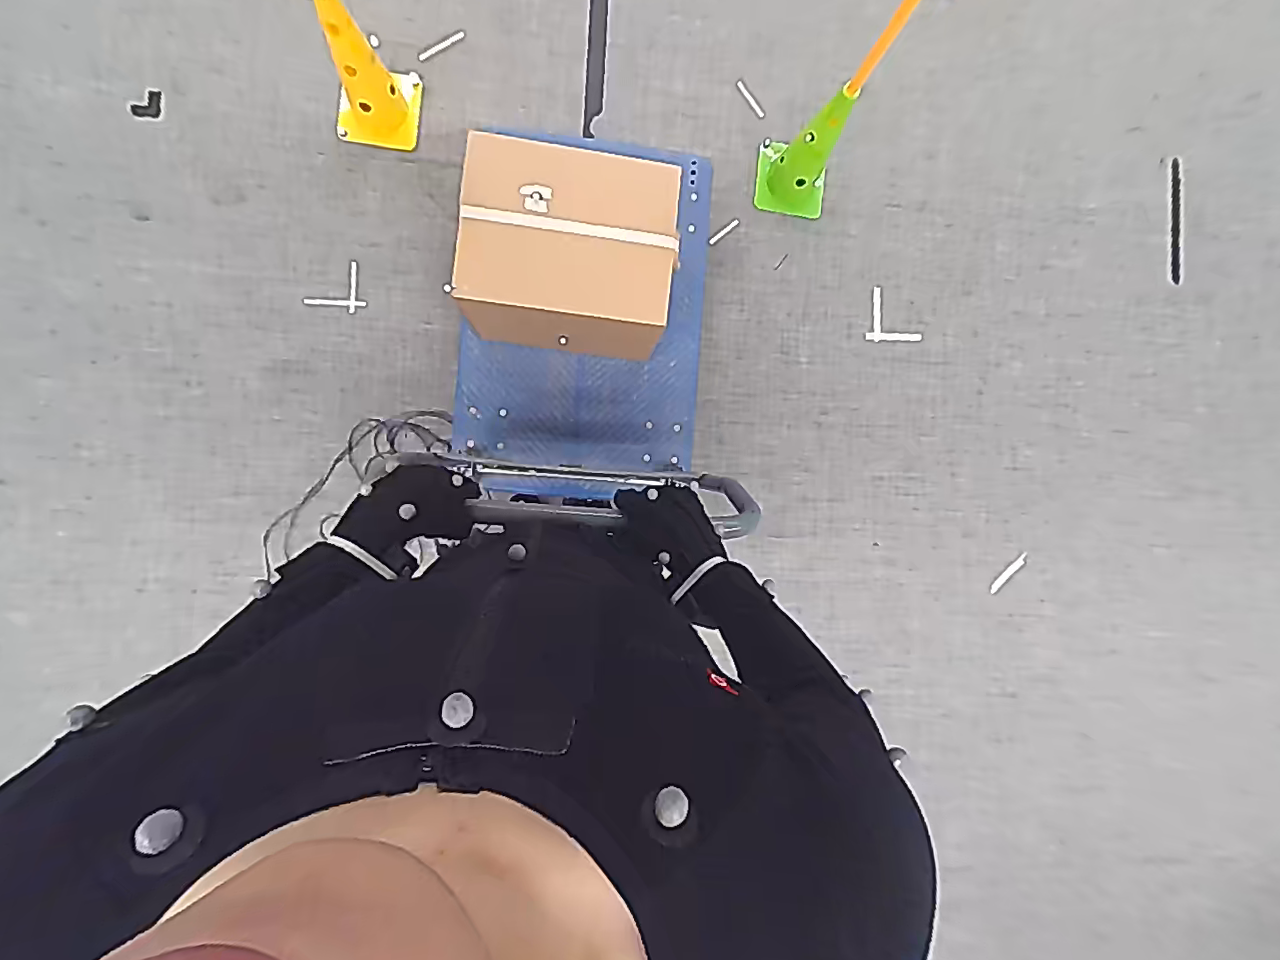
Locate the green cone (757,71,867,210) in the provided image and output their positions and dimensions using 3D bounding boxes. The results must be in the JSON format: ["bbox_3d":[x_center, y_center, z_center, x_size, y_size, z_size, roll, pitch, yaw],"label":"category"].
[{"bbox_3d":[0.458,-0.884,1.375,0.202,0.368,0.200,6,89,-8],"label":"green cone"}]

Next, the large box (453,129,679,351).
[{"bbox_3d":[-0.146,-0.479,1.159,0.408,0.320,0.320,6,89,-6],"label":"large box"}]
